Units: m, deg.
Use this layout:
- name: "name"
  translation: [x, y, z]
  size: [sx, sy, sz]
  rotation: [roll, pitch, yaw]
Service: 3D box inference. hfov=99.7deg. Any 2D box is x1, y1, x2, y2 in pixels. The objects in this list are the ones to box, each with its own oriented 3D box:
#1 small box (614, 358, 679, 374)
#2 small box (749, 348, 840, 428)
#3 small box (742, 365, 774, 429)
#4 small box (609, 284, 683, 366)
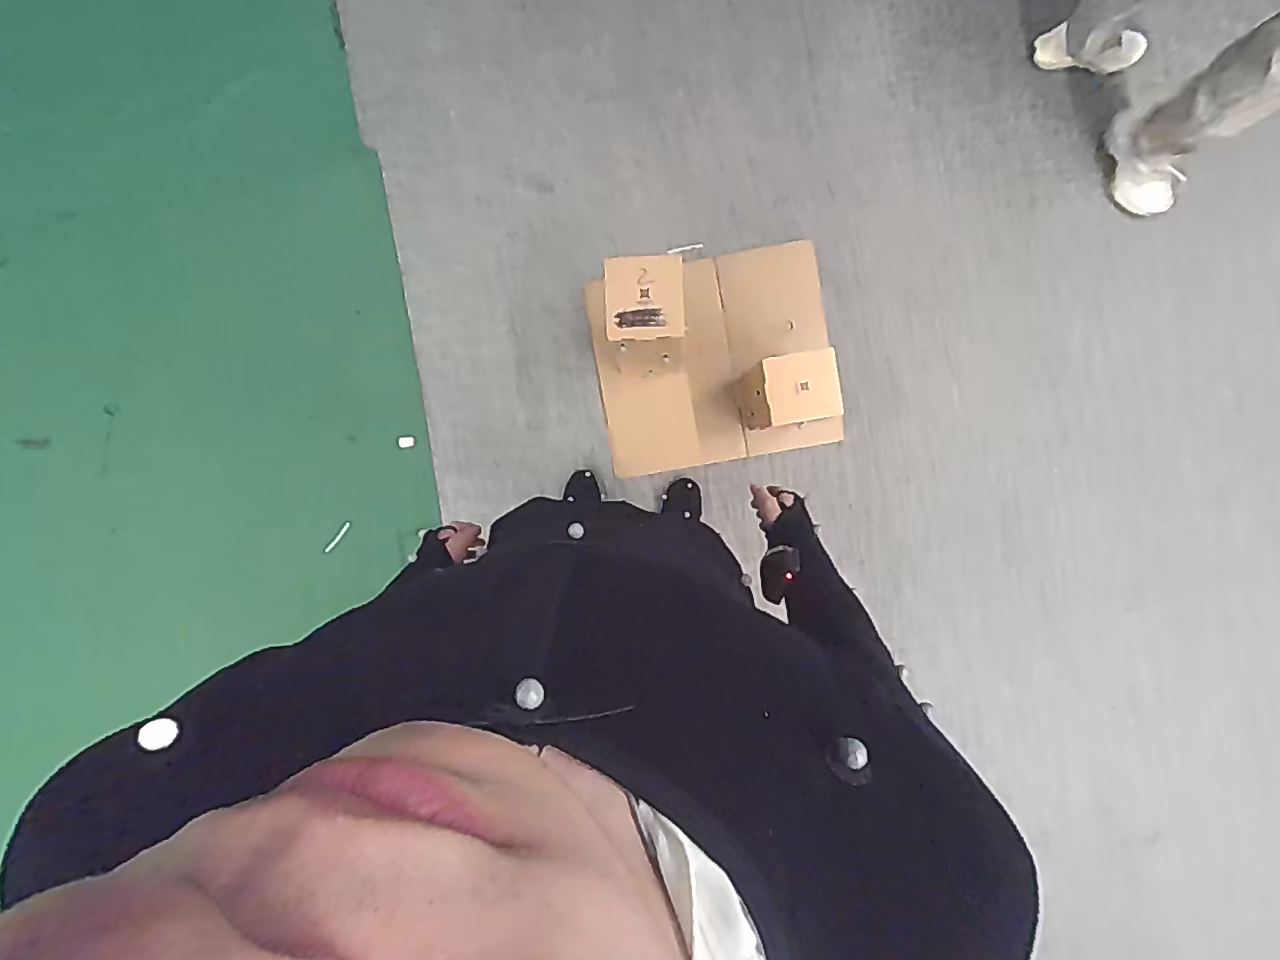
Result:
- name: "small box"
  translation: [0.018, -0.398, 1.540]
  size: [0.179, 0.176, 0.168]
  rotation: [-2, 91, 2]
- name: "small box"
  translation: [0.384, -0.227, 1.370]
  size: [0.179, 0.176, 0.168]
  rotation: [-10, 92, 4]
- name: "small box"
  translation: [0.390, -0.240, 1.531]
  size: [0.179, 0.176, 0.168]
  rotation: [-9, 92, 3]
- name: "small box"
  translation: [0.015, -0.388, 1.374]
  size: [0.179, 0.176, 0.168]
  rotation: [-2, 91, 2]
